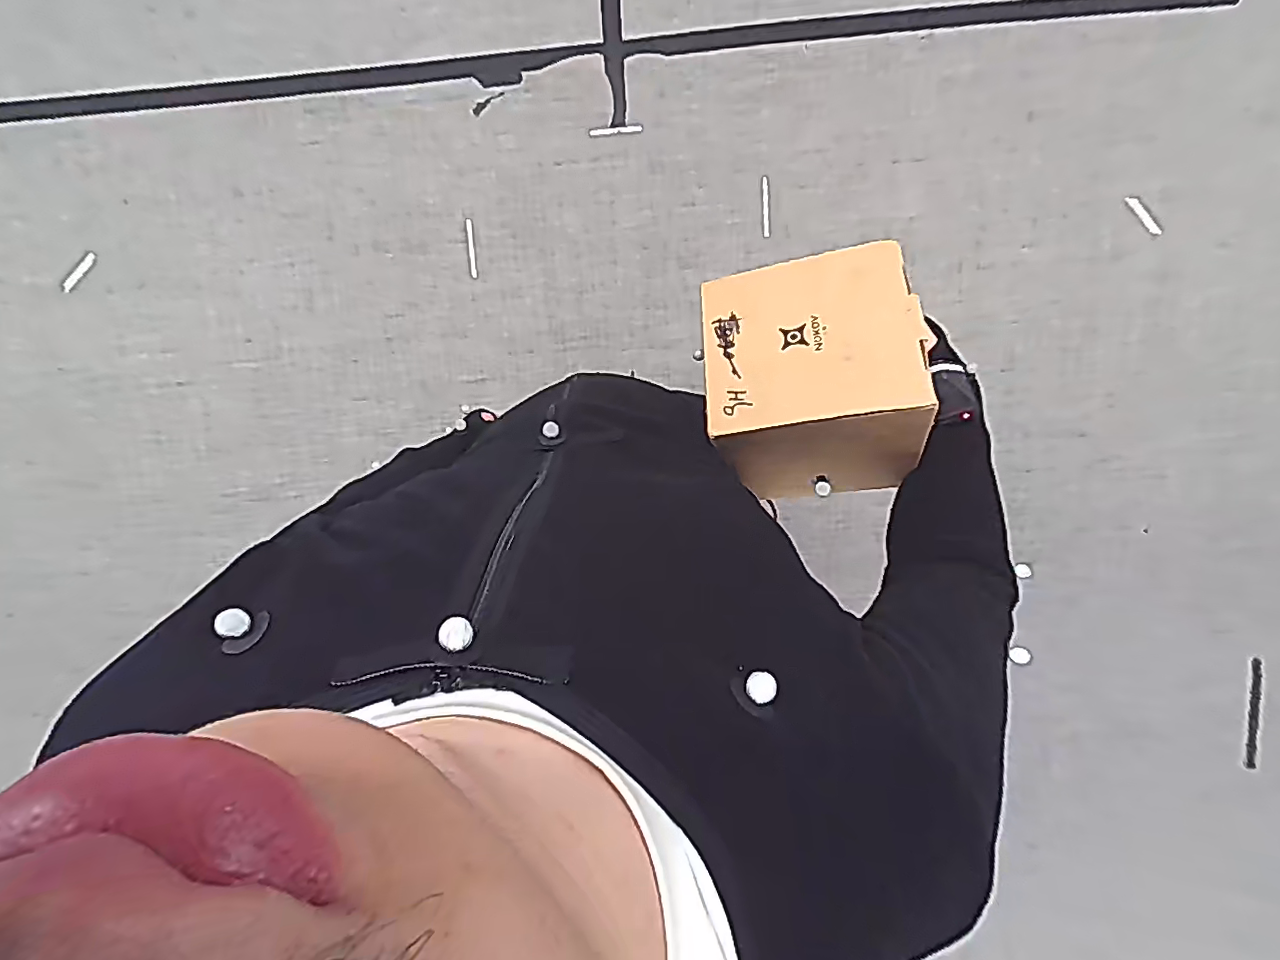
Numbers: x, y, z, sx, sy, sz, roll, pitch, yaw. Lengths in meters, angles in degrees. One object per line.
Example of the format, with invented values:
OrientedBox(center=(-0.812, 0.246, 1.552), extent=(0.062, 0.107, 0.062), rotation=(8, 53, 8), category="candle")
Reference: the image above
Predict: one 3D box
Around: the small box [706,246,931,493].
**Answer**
OrientedBox(center=(0.168, -0.096, 0.543), extent=(0.179, 0.176, 0.168), rotation=(-7, 66, 16), category="small box")
